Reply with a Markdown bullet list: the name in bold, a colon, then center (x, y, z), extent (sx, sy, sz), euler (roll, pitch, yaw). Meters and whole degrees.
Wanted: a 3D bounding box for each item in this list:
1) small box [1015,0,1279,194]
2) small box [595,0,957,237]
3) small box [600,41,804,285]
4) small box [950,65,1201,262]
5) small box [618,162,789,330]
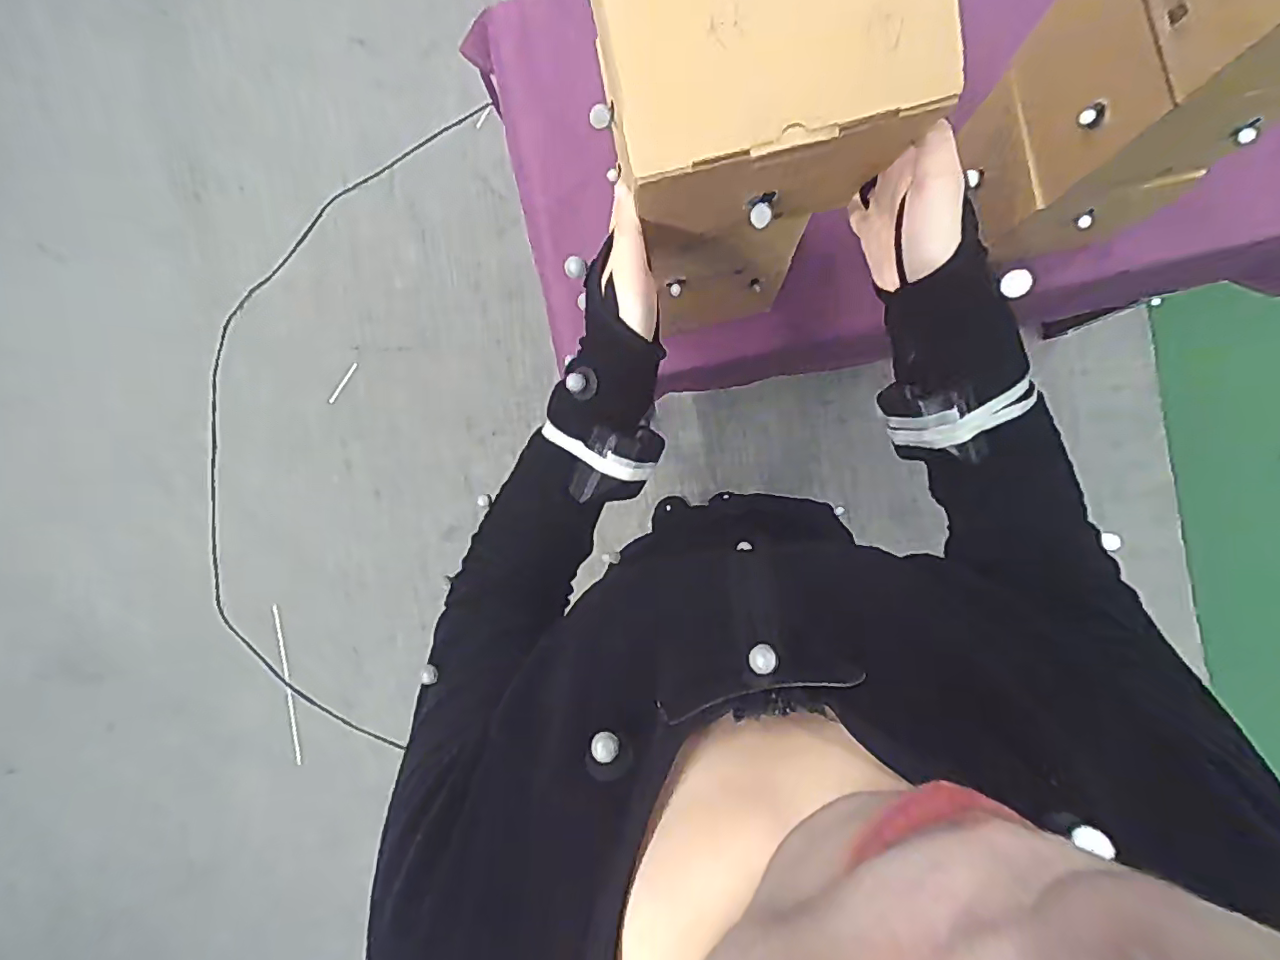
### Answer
- **small box**: center (0.496, -0.398, 0.505), extent (0.168, 0.176, 0.179), euler (-12, 88, 5)
- **small box**: center (0.063, -0.263, 0.330), extent (0.168, 0.176, 0.179), euler (-12, 103, 4)
- **small box**: center (0.067, -0.314, 0.544), extent (0.168, 0.176, 0.179), euler (-12, 87, 4)
- **small box**: center (0.511, -0.391, 0.668), extent (0.179, 0.176, 0.168), euler (-10, 89, 5)
- **small box**: center (0.080, -0.311, 0.707), extent (0.179, 0.176, 0.168), euler (-11, 88, 4)
